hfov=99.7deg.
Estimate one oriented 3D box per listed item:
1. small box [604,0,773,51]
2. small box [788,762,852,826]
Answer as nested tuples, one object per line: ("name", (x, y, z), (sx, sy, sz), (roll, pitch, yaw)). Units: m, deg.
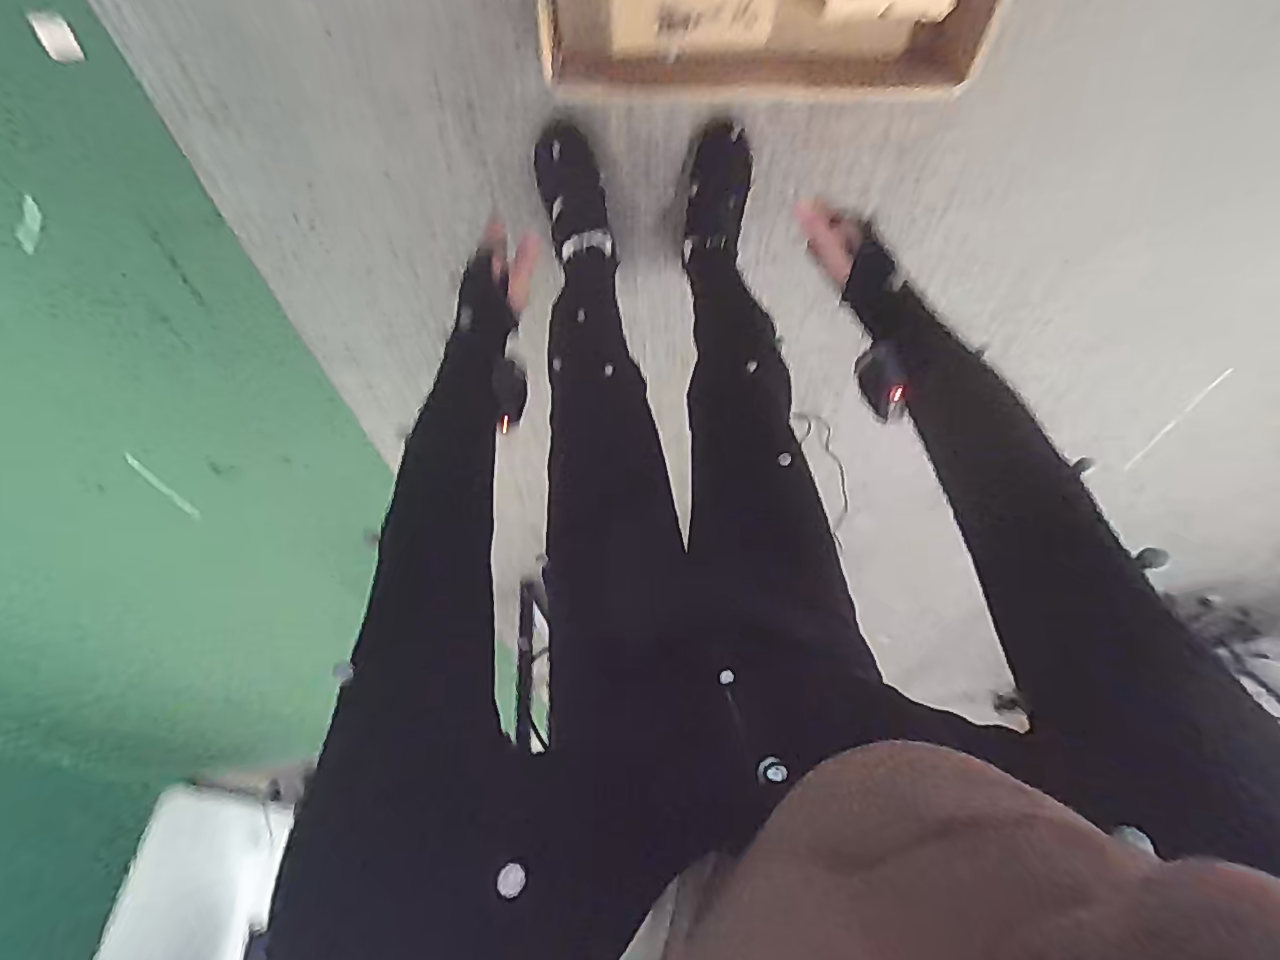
("small box", (0.043, -0.565, 0.548), (0.168, 0.176, 0.179), (-4, 140, -2))
("small box", (0.623, 1.099, 1.895), (0.168, 0.176, 0.179), (-9, 141, 3))
